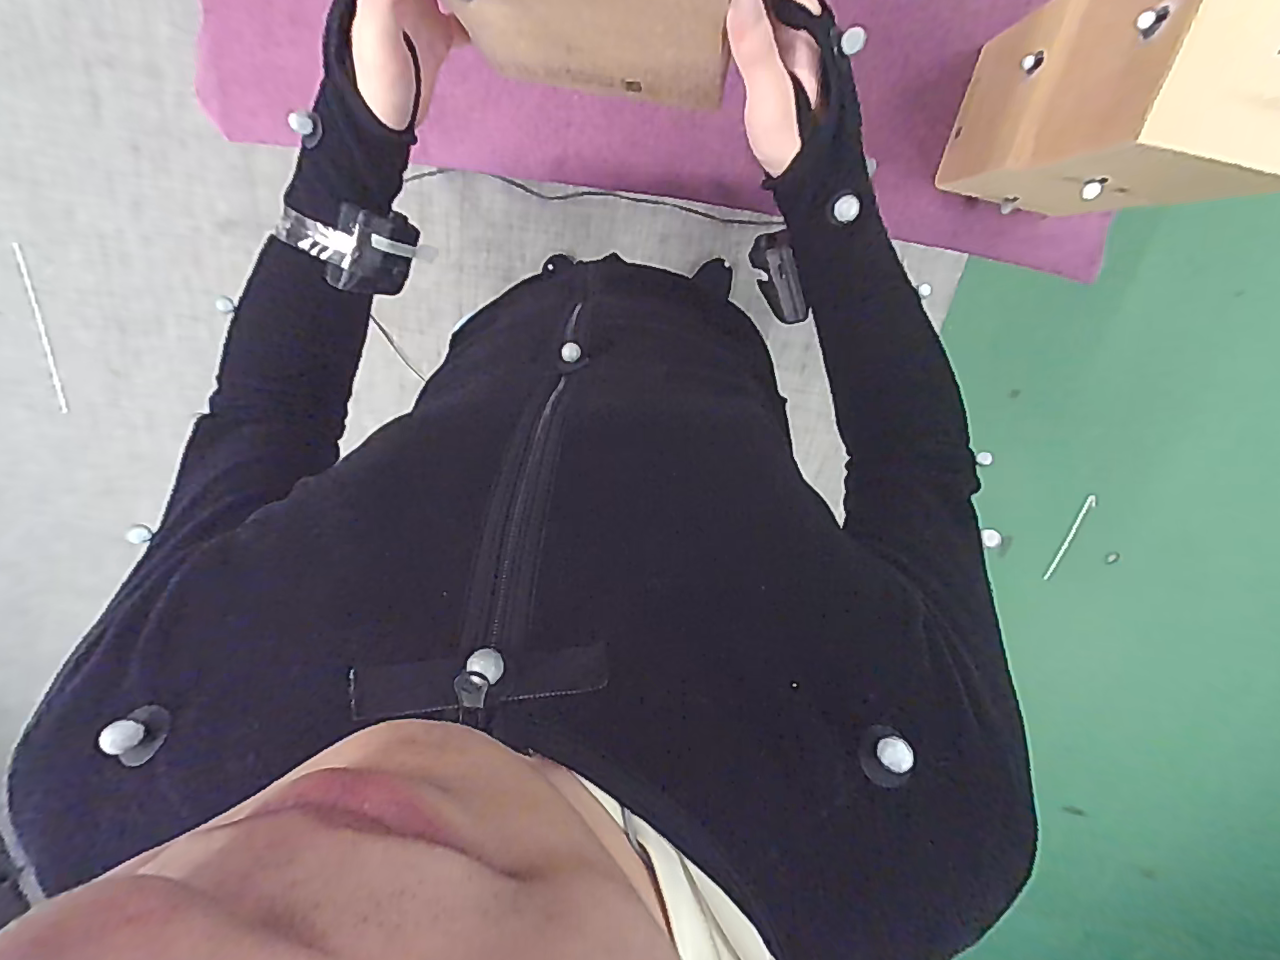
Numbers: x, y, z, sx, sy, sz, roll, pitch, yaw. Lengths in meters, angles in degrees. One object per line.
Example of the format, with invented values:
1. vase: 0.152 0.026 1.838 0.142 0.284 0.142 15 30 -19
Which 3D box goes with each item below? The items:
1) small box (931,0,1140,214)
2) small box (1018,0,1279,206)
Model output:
1. small box: 0.490 -0.421 0.635 0.179 0.176 0.168 11 111 -4
2. small box: 0.491 -0.363 0.482 0.168 0.176 0.179 12 112 -2
